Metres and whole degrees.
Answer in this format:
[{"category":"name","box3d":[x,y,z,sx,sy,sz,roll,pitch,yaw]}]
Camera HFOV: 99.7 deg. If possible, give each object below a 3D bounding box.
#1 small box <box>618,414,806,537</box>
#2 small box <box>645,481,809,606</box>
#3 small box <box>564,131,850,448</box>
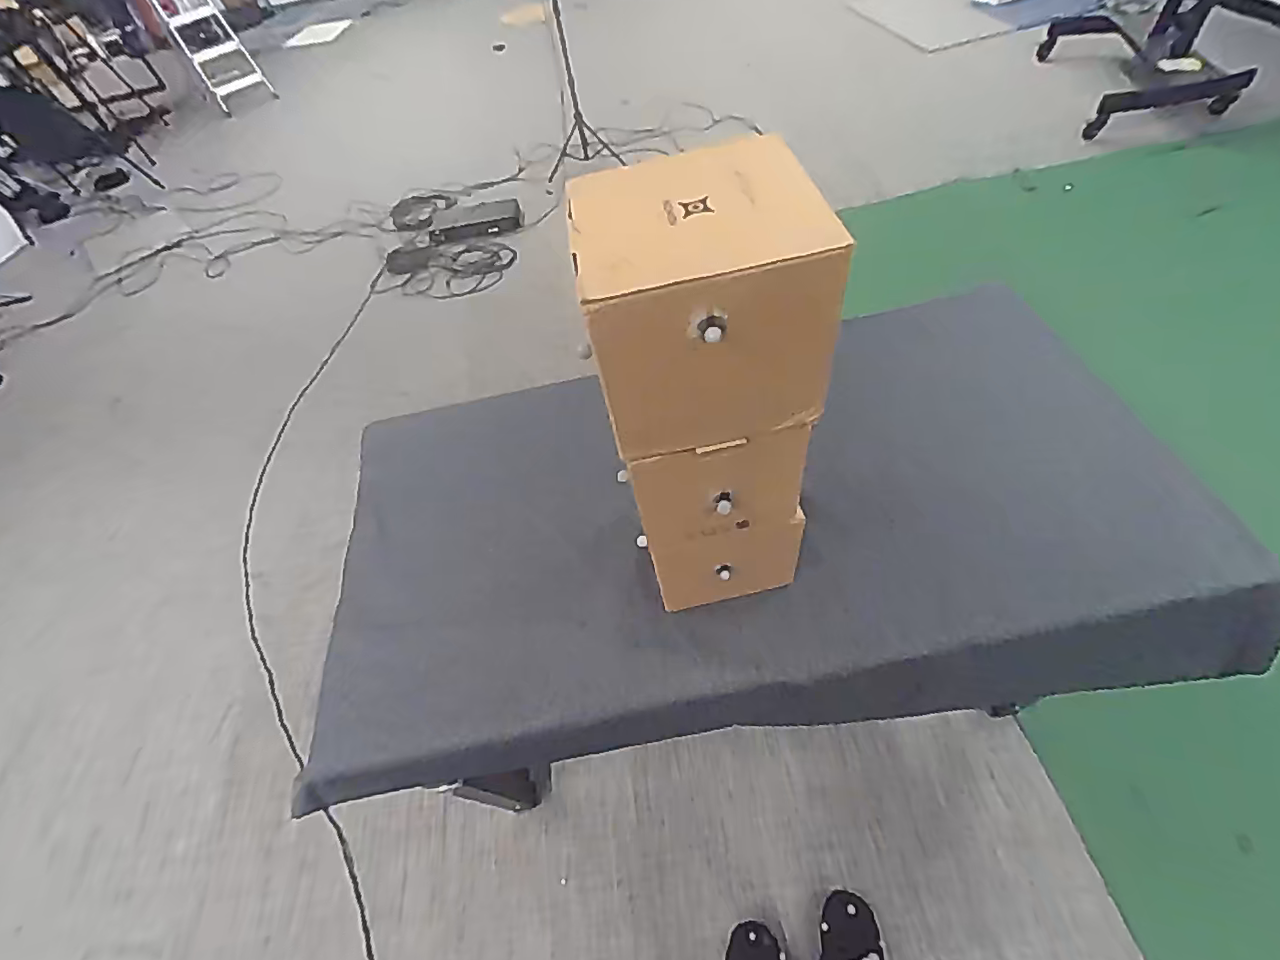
[{"category":"small box","box3d":[0.063,-0.054,0.576,0.168,0.176,0.179,-13,54,1]},{"category":"small box","box3d":[0.095,0.042,0.703,0.179,0.176,0.168,-15,54,-3]},{"category":"small box","box3d":[0.046,-0.145,0.441,0.179,0.176,0.168,-10,55,1]}]
